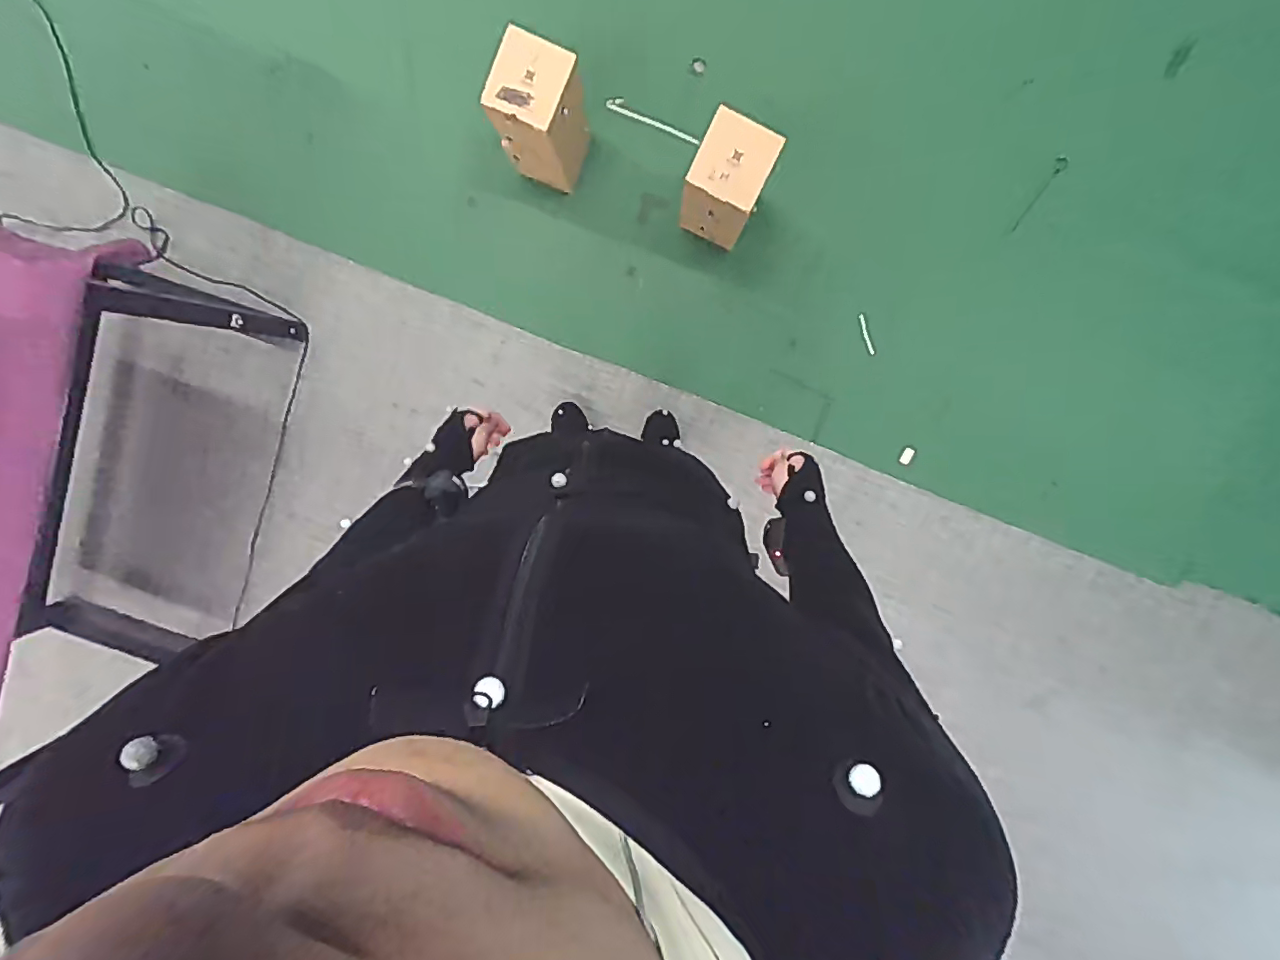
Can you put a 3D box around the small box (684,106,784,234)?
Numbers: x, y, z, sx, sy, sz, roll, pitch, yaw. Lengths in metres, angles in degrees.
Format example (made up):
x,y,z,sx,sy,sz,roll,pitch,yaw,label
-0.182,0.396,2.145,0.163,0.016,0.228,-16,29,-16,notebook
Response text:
x,y,z,sx,sy,sz,roll,pitch,yaw,label
0.210,-0.717,1.272,0.168,0.176,0.179,27,99,-2,small box

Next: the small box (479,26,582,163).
x,y,z,sx,sy,sz,roll,pitch,yaw,label
-0.246,-0.886,1.263,0.168,0.176,0.179,25,97,-1,small box

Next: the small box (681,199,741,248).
x,y,z,sx,sy,sz,roll,pitch,yaw,label
0.214,-0.748,1.434,0.168,0.176,0.179,25,100,-2,small box
